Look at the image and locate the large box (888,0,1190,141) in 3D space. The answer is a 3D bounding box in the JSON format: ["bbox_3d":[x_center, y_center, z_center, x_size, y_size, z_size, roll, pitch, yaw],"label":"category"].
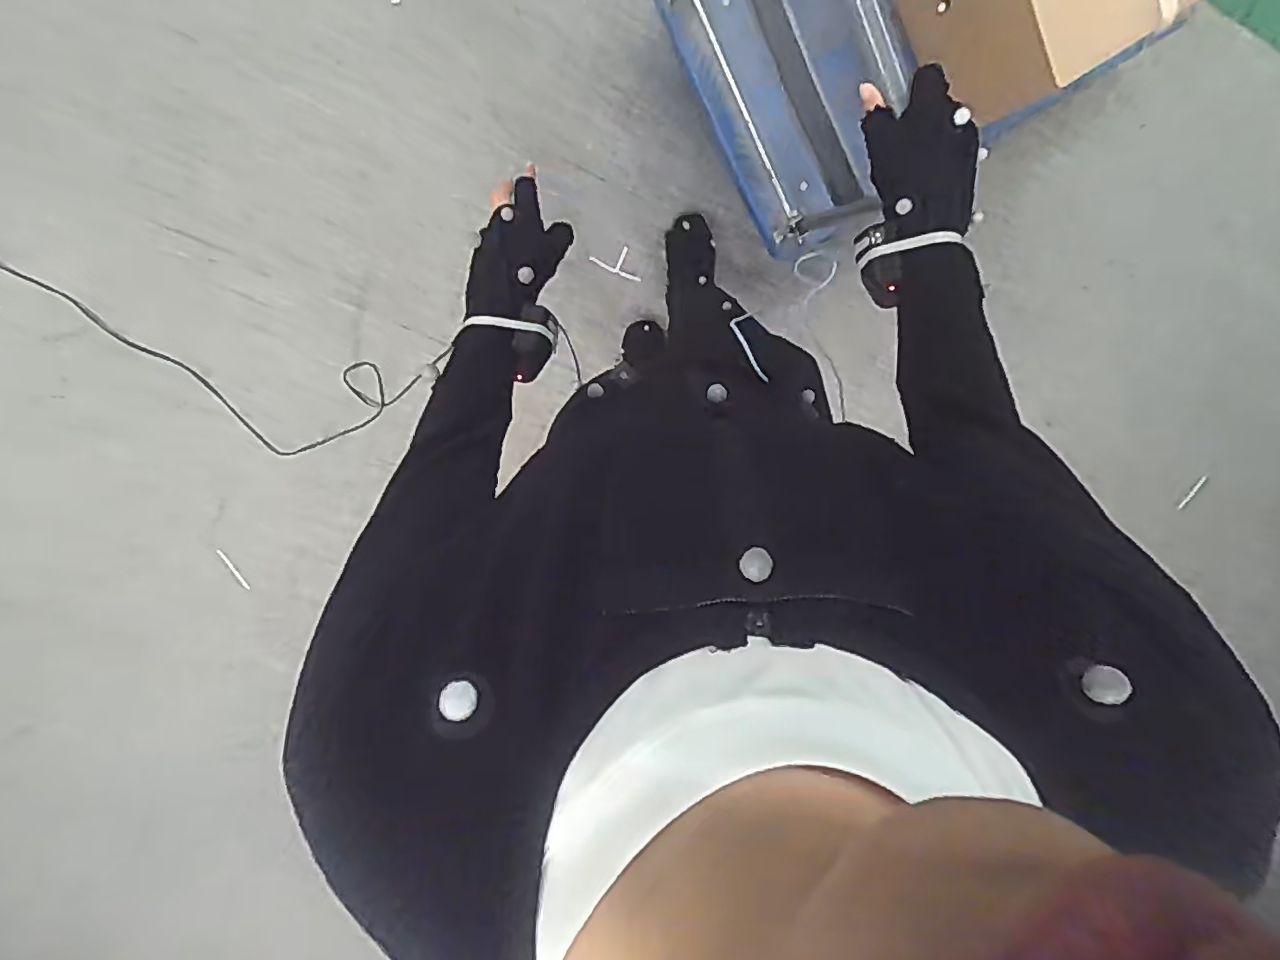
[{"bbox_3d":[0.626,-0.854,0.856,0.320,0.320,0.408,-30,106,10],"label":"large box"}]
